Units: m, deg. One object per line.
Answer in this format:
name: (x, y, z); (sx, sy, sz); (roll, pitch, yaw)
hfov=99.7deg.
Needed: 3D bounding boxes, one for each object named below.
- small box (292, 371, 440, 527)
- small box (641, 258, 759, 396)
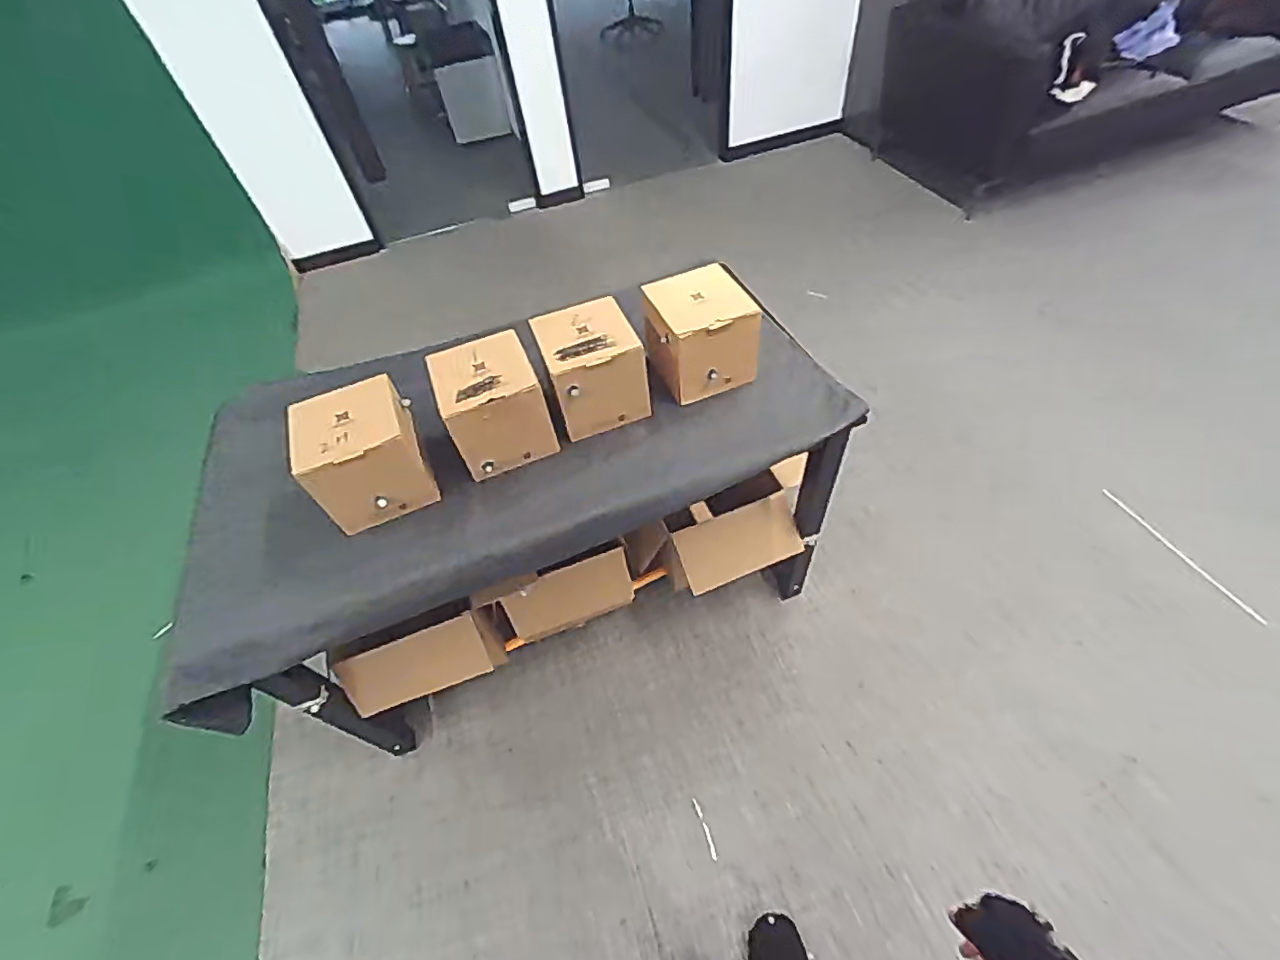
small box: (-0.468, -0.051, 0.935); (0.168, 0.176, 0.179); (-24, 54, -11)
small box: (0.113, -0.296, 1.054); (0.168, 0.176, 0.179); (-21, 53, -9)
